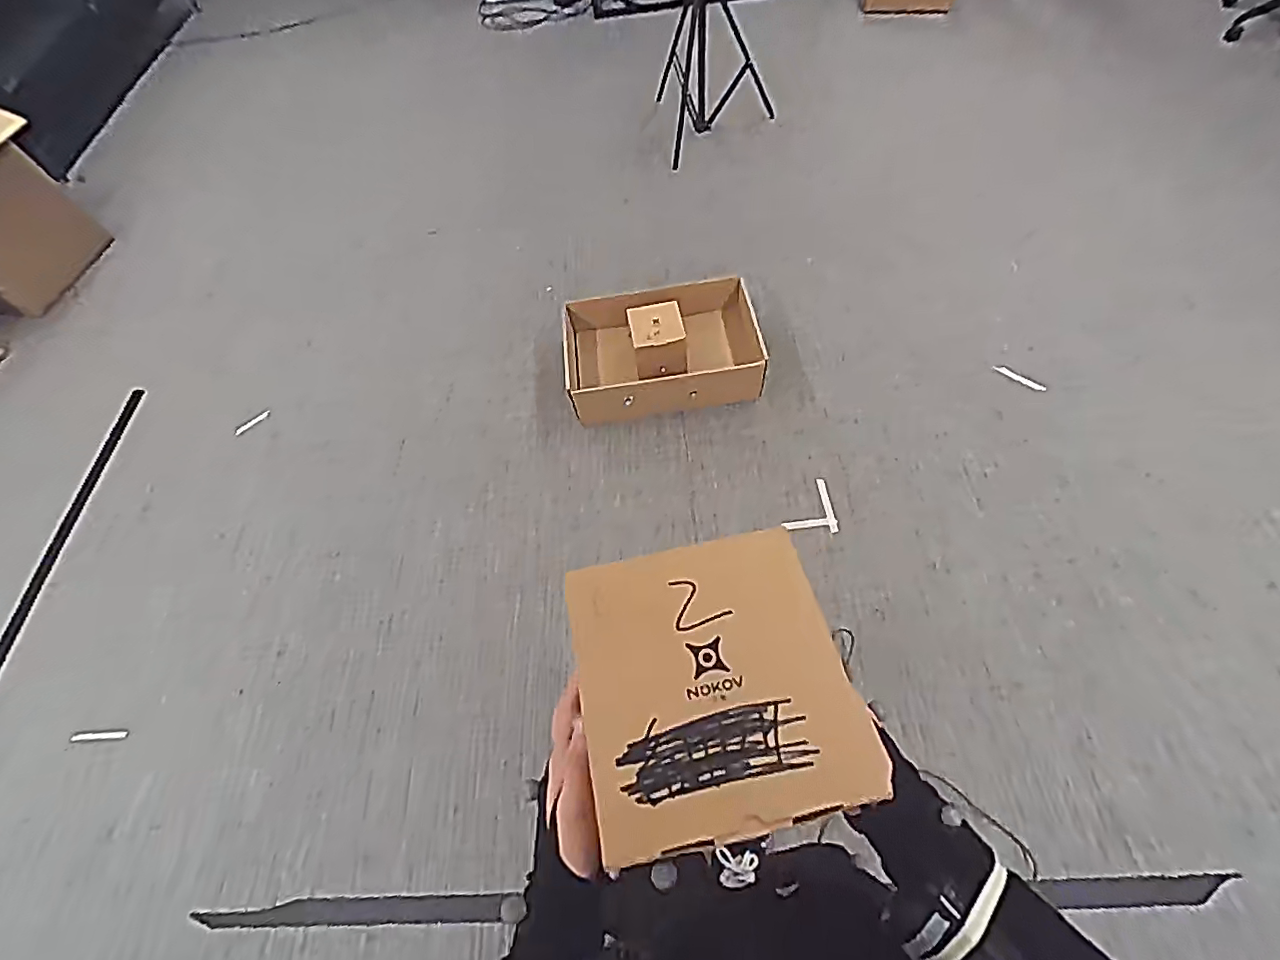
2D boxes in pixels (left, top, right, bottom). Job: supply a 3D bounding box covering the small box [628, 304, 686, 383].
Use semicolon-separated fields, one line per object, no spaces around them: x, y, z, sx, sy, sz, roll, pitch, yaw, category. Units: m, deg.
0.057;-0.445;1.774;0.168;0.176;0.179;-10;60;1;small box
